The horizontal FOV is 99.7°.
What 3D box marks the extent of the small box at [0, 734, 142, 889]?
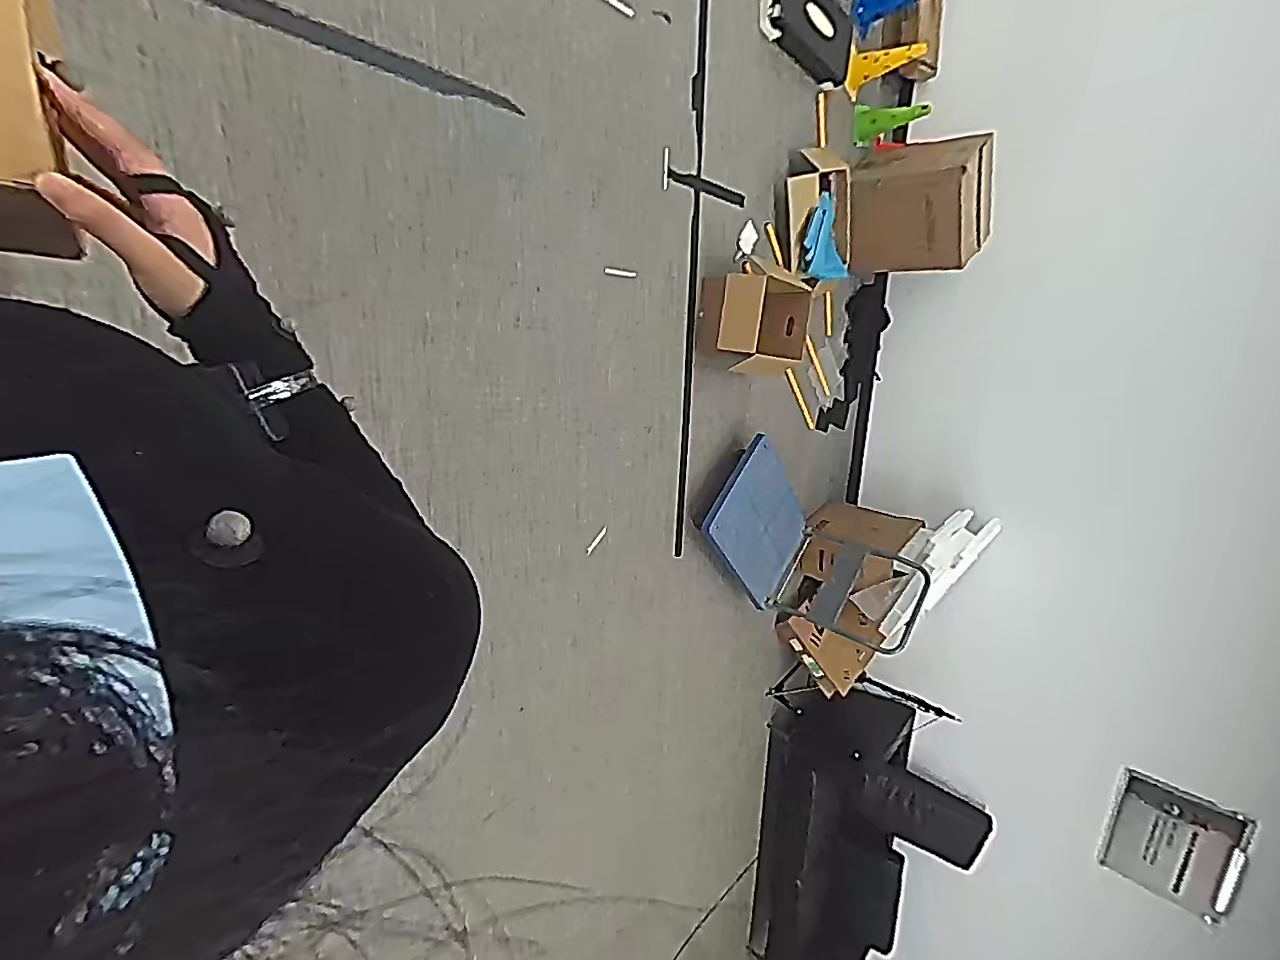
[{"bbox_3d":[-1.134,0.641,1.076,0.168,0.176,0.179,-18,115,-44],"label":"small box"}]
